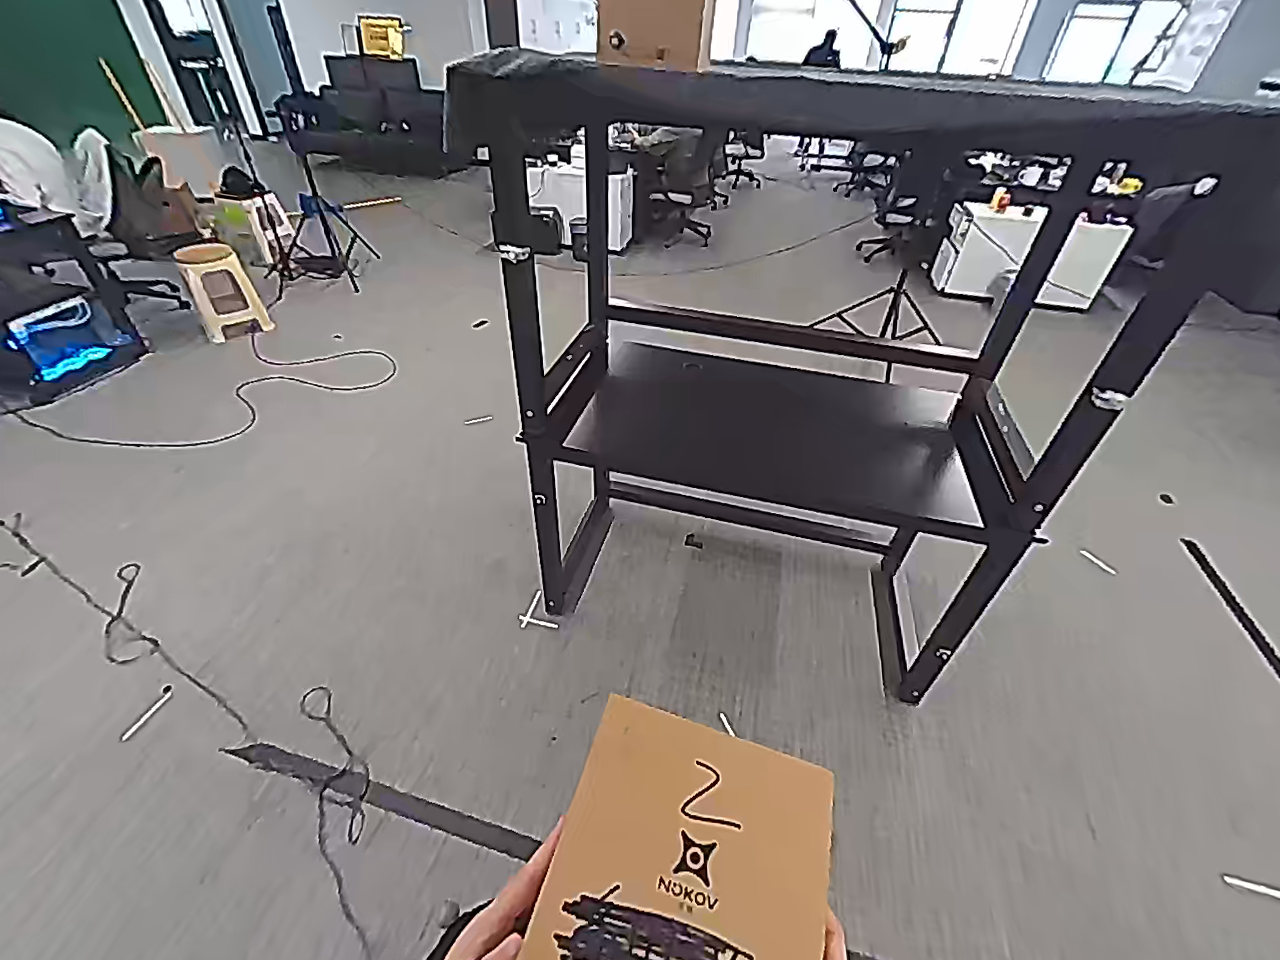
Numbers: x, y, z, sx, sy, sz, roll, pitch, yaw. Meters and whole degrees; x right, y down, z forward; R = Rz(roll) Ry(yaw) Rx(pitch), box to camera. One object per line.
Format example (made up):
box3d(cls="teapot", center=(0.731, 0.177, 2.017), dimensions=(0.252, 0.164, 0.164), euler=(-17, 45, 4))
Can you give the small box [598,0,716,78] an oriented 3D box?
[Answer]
box3d(cls="small box", center=(0.032, -0.756, 0.869), dimensions=(0.168, 0.176, 0.179), euler=(11, 38, 7))
